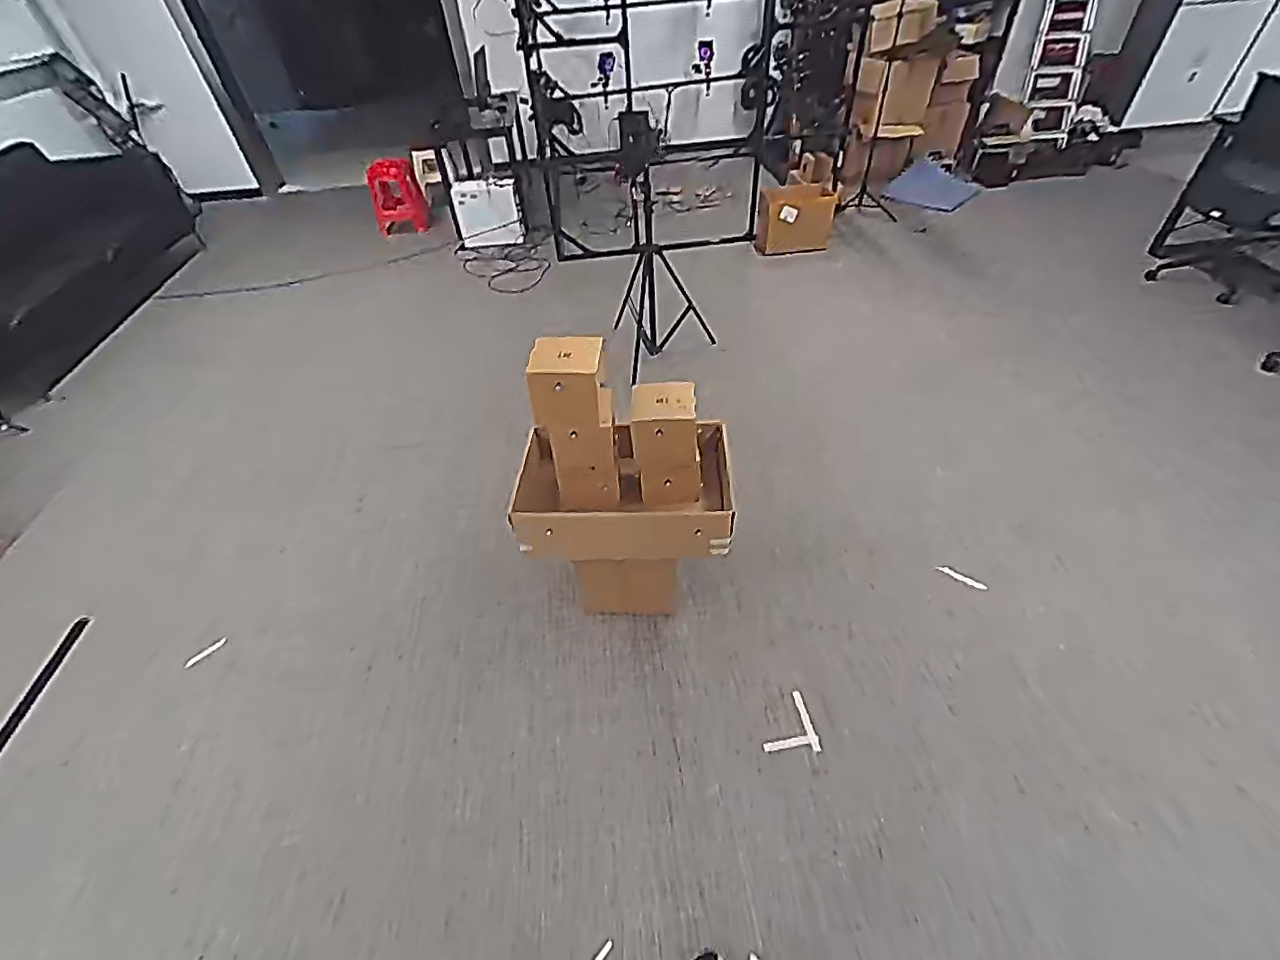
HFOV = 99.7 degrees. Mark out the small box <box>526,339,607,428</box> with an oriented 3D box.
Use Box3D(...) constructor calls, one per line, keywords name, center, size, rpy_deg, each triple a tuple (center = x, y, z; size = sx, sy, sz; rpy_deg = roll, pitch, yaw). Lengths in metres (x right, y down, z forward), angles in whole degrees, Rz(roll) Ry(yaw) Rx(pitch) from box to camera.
Box3D(name="small box", center=(-0.182, -0.248, 1.401), size=(0.179, 0.176, 0.168), rpy_deg=(0, 44, 3))
